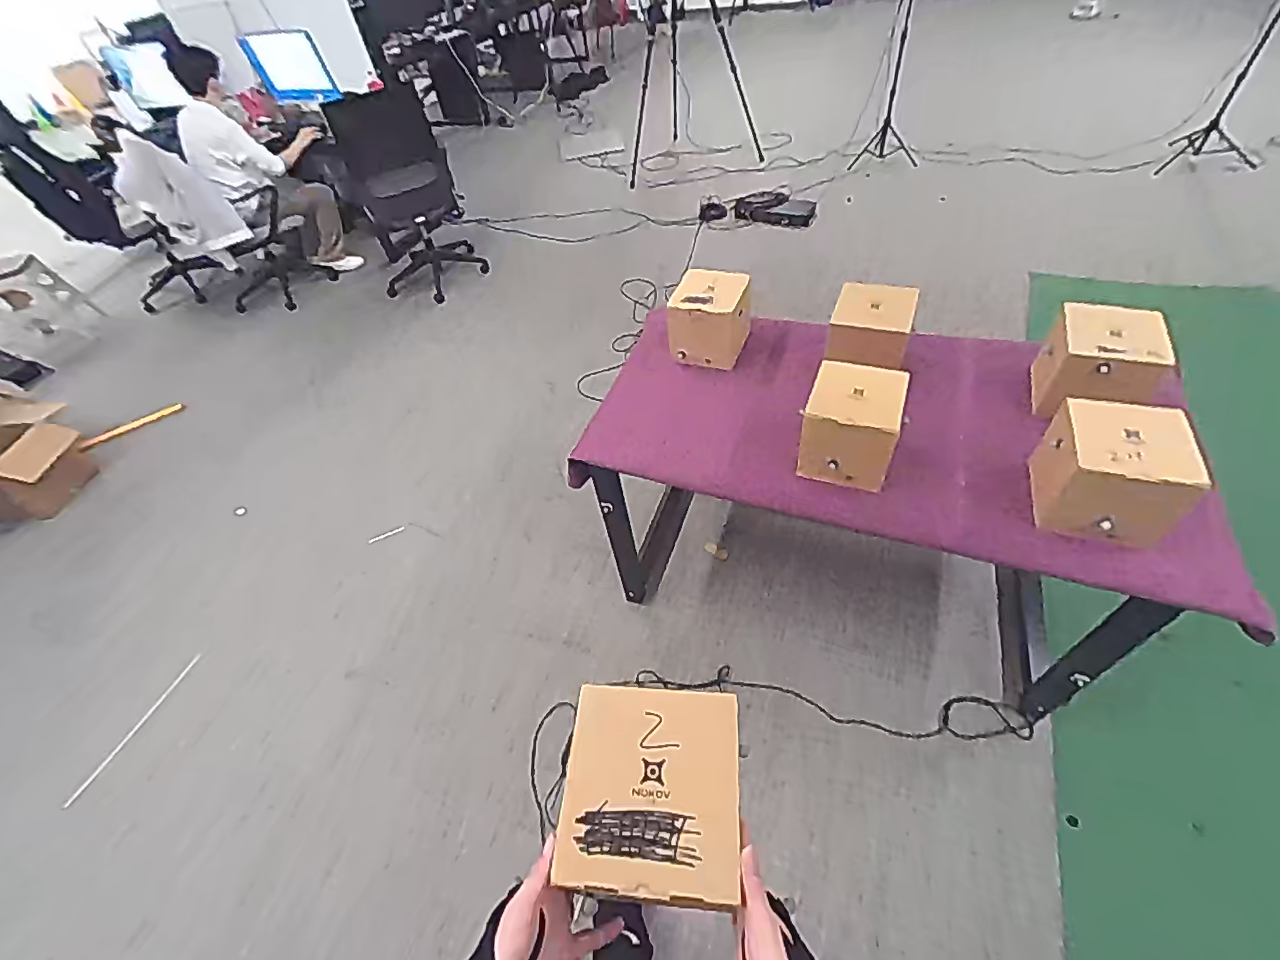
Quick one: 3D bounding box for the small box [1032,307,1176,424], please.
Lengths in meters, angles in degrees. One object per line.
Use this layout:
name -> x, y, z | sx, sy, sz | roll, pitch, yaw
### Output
small box -> 0.926, -0.222, 1.100 | 0.168, 0.176, 0.179 | 14, 54, 20

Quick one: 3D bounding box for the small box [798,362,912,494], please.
small box -> 0.420, -0.104, 1.071 | 0.168, 0.176, 0.179 | 15, 53, 19

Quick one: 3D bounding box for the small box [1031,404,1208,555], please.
small box -> 0.801, -0.002, 0.929 | 0.168, 0.176, 0.179 | 12, 53, 19

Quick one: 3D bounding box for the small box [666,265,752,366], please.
small box -> 0.177, -0.411, 1.357 | 0.168, 0.176, 0.179 | 15, 55, 18

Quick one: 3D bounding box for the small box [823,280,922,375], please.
small box -> 0.530, -0.331, 1.247 | 0.168, 0.176, 0.179 | 16, 55, 20
